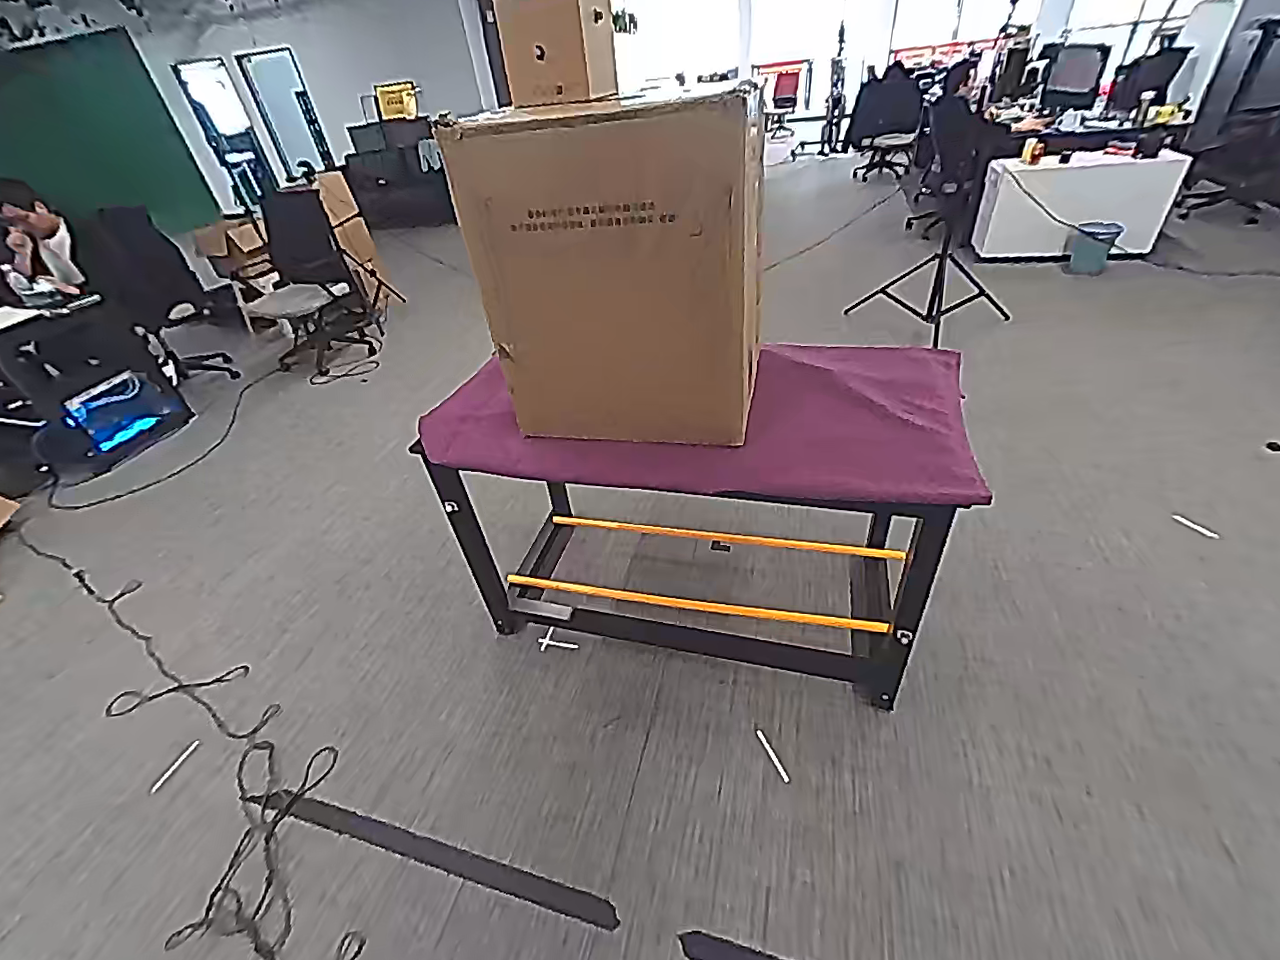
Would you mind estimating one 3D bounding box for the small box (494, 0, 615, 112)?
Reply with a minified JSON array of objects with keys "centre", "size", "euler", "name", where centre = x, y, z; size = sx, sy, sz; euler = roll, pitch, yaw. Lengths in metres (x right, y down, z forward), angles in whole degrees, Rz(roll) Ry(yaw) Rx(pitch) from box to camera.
[{"centre":[-0.155,-0.831,1.059],"size":[0.168,0.176,0.179],"euler":[7,39,16],"name":"small box"}]
